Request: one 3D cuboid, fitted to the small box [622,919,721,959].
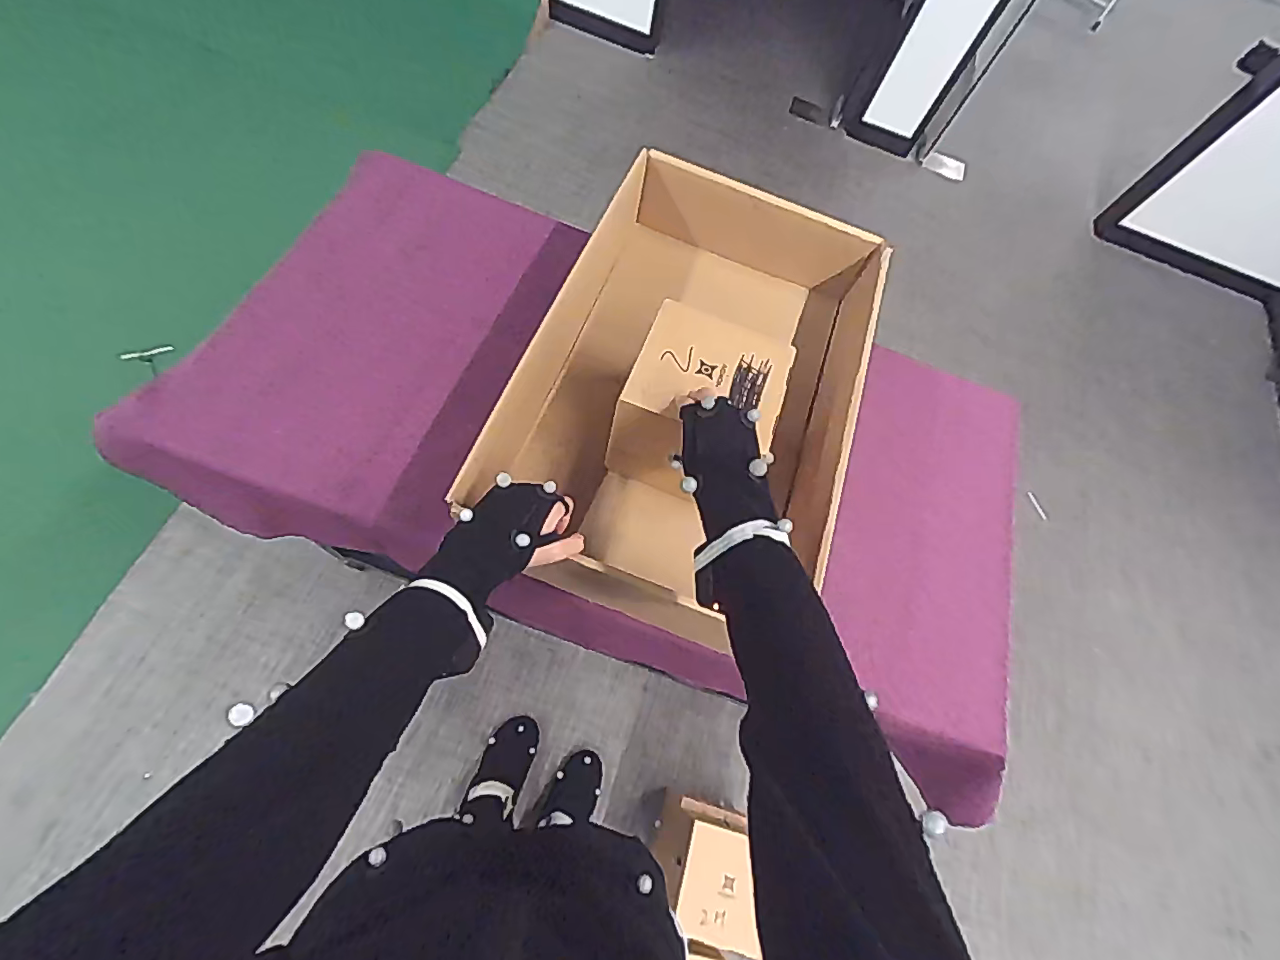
[{"bbox_3d":[0.050,1.016,1.081,0.179,0.176,0.168,16,65,-4],"label":"small box"}]

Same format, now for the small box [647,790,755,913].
[{"bbox_3d":[0.128,0.801,1.186,0.179,0.176,0.168,19,65,0],"label":"small box"}]
